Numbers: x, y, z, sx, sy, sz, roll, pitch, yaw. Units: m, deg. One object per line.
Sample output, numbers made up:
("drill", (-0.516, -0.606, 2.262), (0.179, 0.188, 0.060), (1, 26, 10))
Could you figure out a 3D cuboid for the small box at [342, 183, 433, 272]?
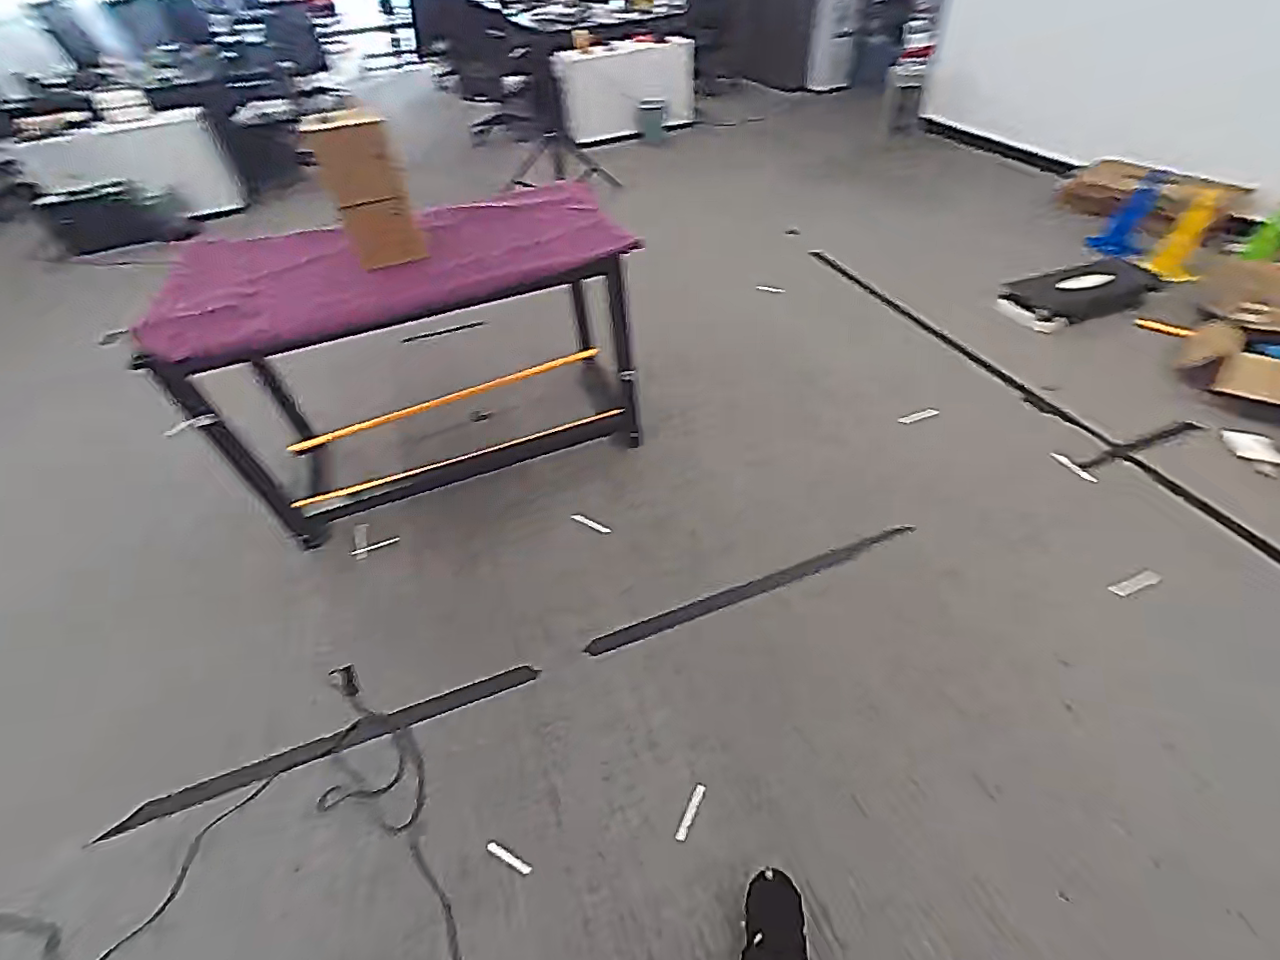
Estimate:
("small box", (-0.691, -0.692, 1.488), (0.179, 0.176, 0.168), (-18, 47, -12))
